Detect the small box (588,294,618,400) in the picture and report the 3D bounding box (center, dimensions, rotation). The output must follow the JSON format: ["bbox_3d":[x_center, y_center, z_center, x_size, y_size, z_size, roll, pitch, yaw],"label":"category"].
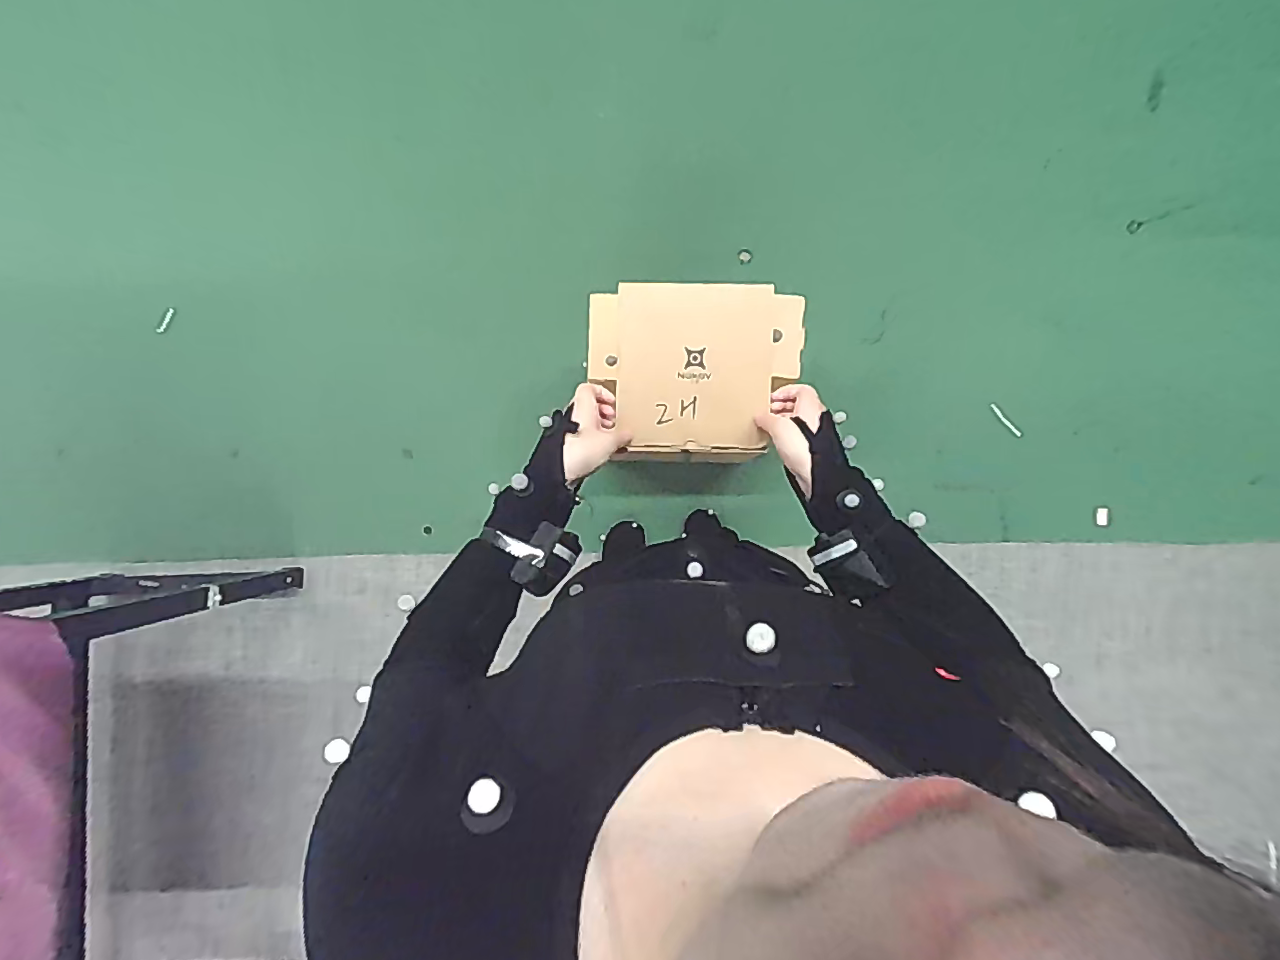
[{"bbox_3d":[-0.018,-0.268,1.125,0.168,0.176,0.179,1,87,0],"label":"small box"}]

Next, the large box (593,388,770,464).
[{"bbox_3d":[0.091,-0.207,1.364,0.408,0.320,0.320,0,88,0],"label":"large box"}]

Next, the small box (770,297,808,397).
[{"bbox_3d":[0.231,-0.271,1.120,0.179,0.176,0.168,5,87,1],"label":"small box"}]

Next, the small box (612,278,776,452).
[{"bbox_3d":[0.058,-0.124,0.638,0.168,0.176,0.179,2,94,3],"label":"small box"}]
